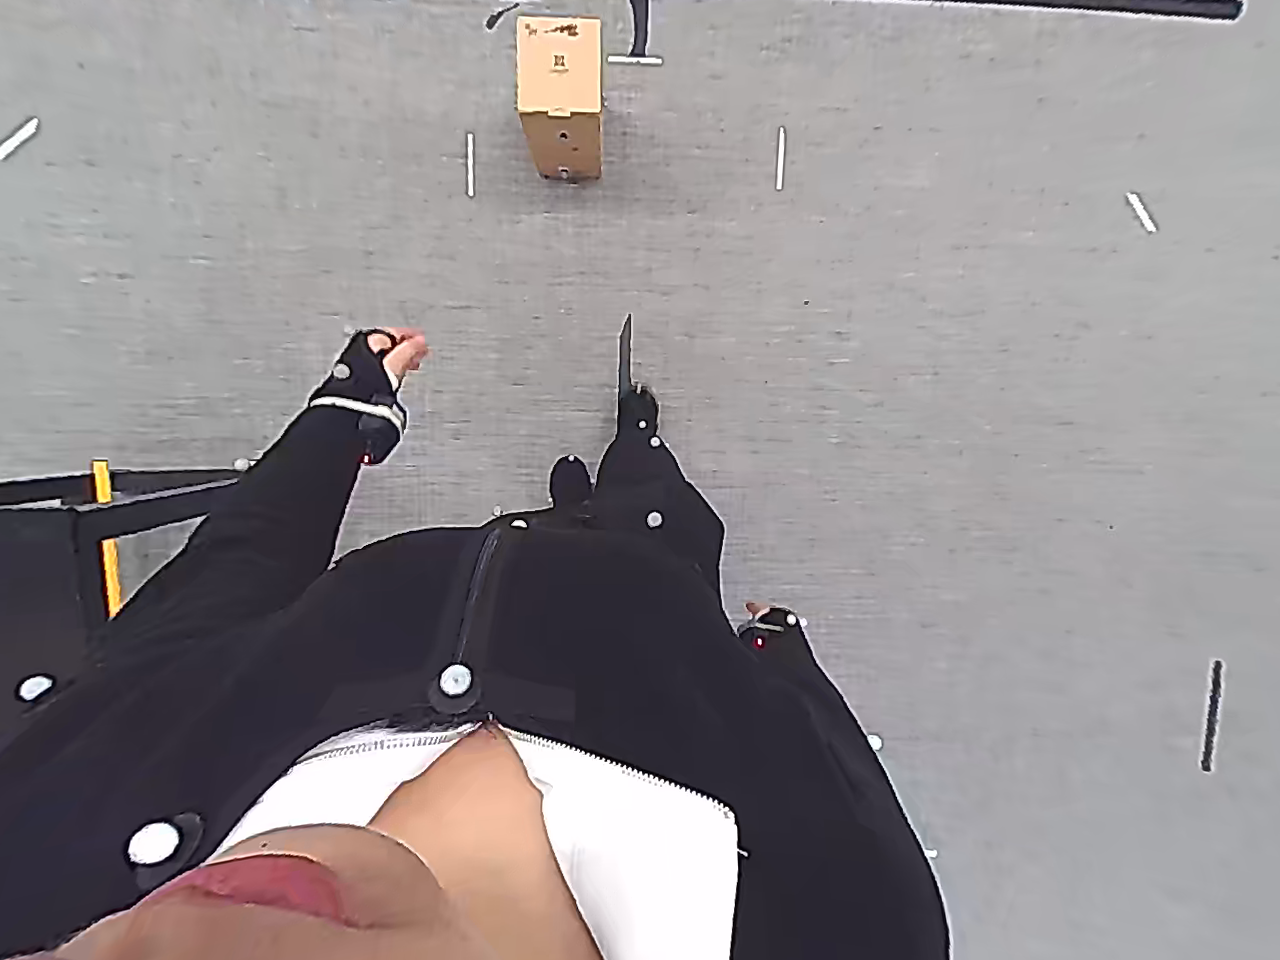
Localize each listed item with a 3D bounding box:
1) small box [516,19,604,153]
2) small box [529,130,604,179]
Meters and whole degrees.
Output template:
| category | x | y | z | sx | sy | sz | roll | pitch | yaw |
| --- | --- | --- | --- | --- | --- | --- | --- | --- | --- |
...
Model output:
| category | x | y | z | sx | sy | sz | roll | pitch | yaw |
| --- | --- | --- | --- | --- | --- | --- | --- | --- | --- |
| small box | -0.162 | -0.815 | 1.137 | 0.168 | 0.176 | 0.179 | 1 | 97 | -2 |
| small box | -0.173 | -0.851 | 1.298 | 0.168 | 0.176 | 0.179 | -1 | 98 | -2 |
